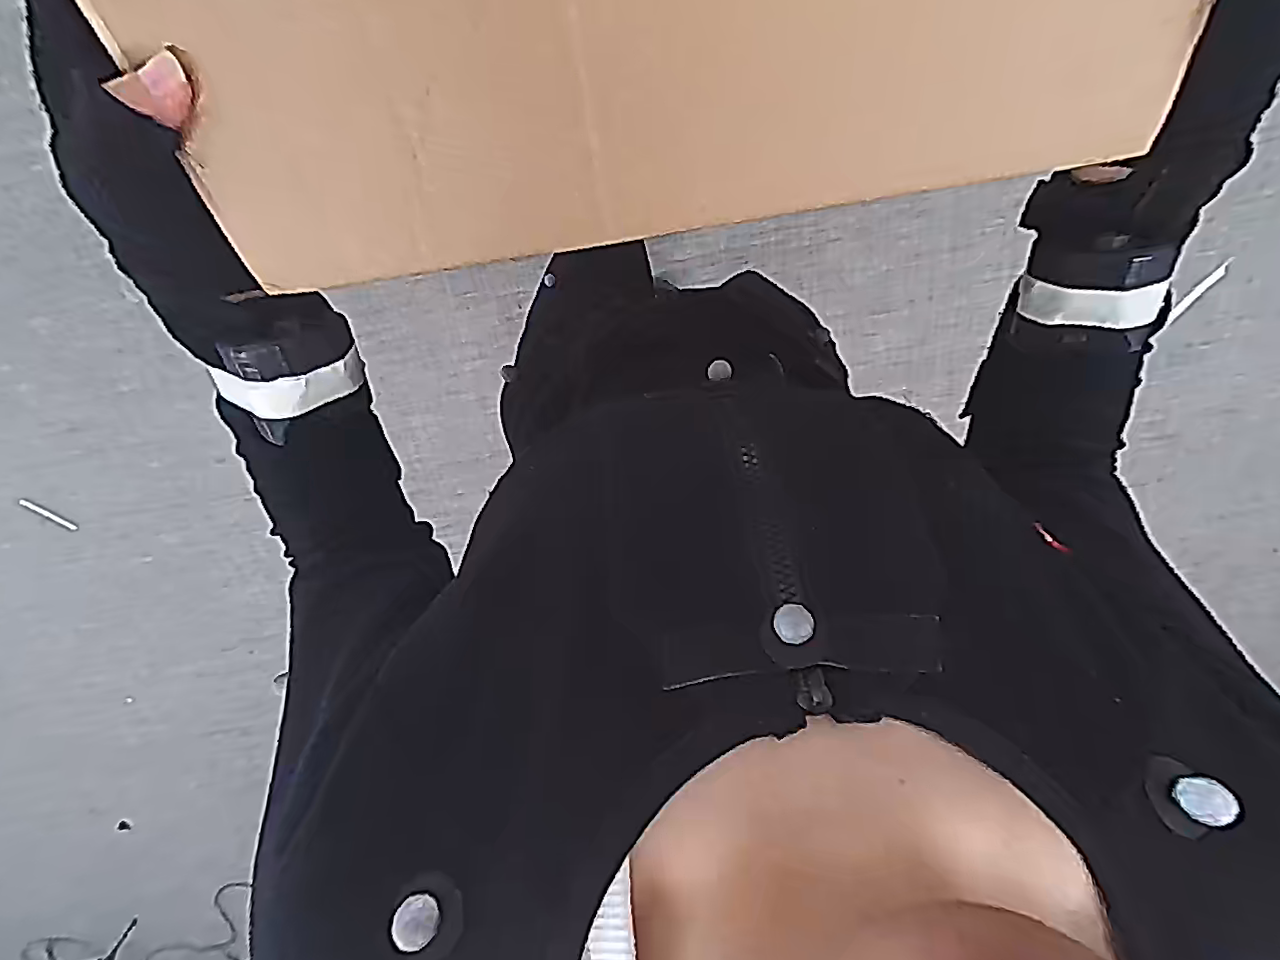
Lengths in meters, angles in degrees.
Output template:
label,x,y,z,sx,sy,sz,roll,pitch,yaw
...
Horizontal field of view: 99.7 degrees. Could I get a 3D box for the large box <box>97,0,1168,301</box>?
label,x,y,z,sx,sy,sz,roll,pitch,yaw
large box,-0.010,-0.330,0.265,0.408,0.320,0.320,-8,132,3
